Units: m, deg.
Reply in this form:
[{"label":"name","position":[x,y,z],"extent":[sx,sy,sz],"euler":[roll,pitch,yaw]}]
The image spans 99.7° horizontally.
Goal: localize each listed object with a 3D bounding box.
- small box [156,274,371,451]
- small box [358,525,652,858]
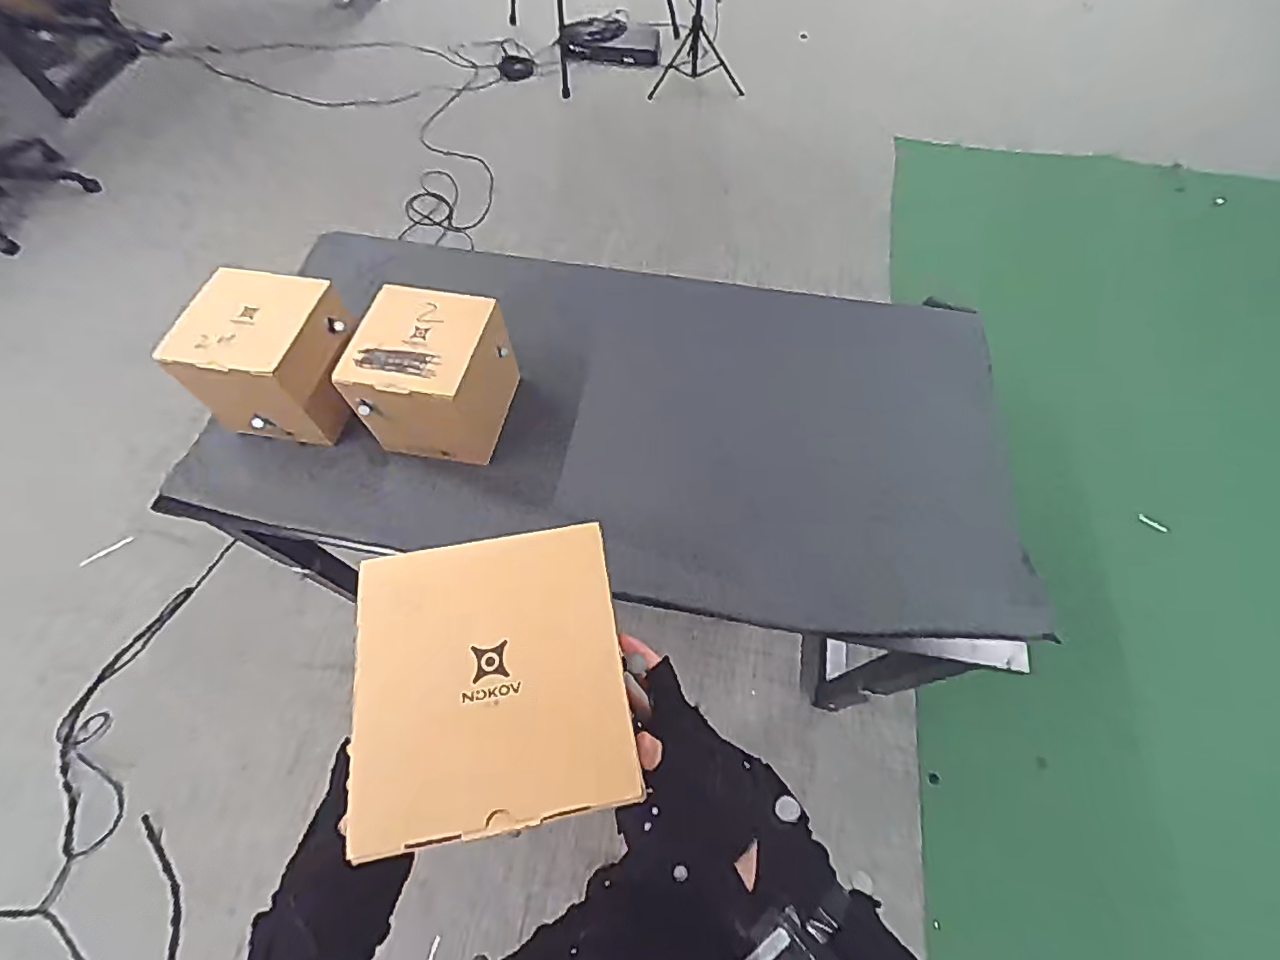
[{"label":"small box","position":[-0.524,-0.168,0.791],"extent":[0.168,0.176,0.179],"euler":[8,61,3]},{"label":"small box","position":[-0.092,0.155,0.411],"extent":[0.168,0.176,0.179],"euler":[-9,64,-7]}]
